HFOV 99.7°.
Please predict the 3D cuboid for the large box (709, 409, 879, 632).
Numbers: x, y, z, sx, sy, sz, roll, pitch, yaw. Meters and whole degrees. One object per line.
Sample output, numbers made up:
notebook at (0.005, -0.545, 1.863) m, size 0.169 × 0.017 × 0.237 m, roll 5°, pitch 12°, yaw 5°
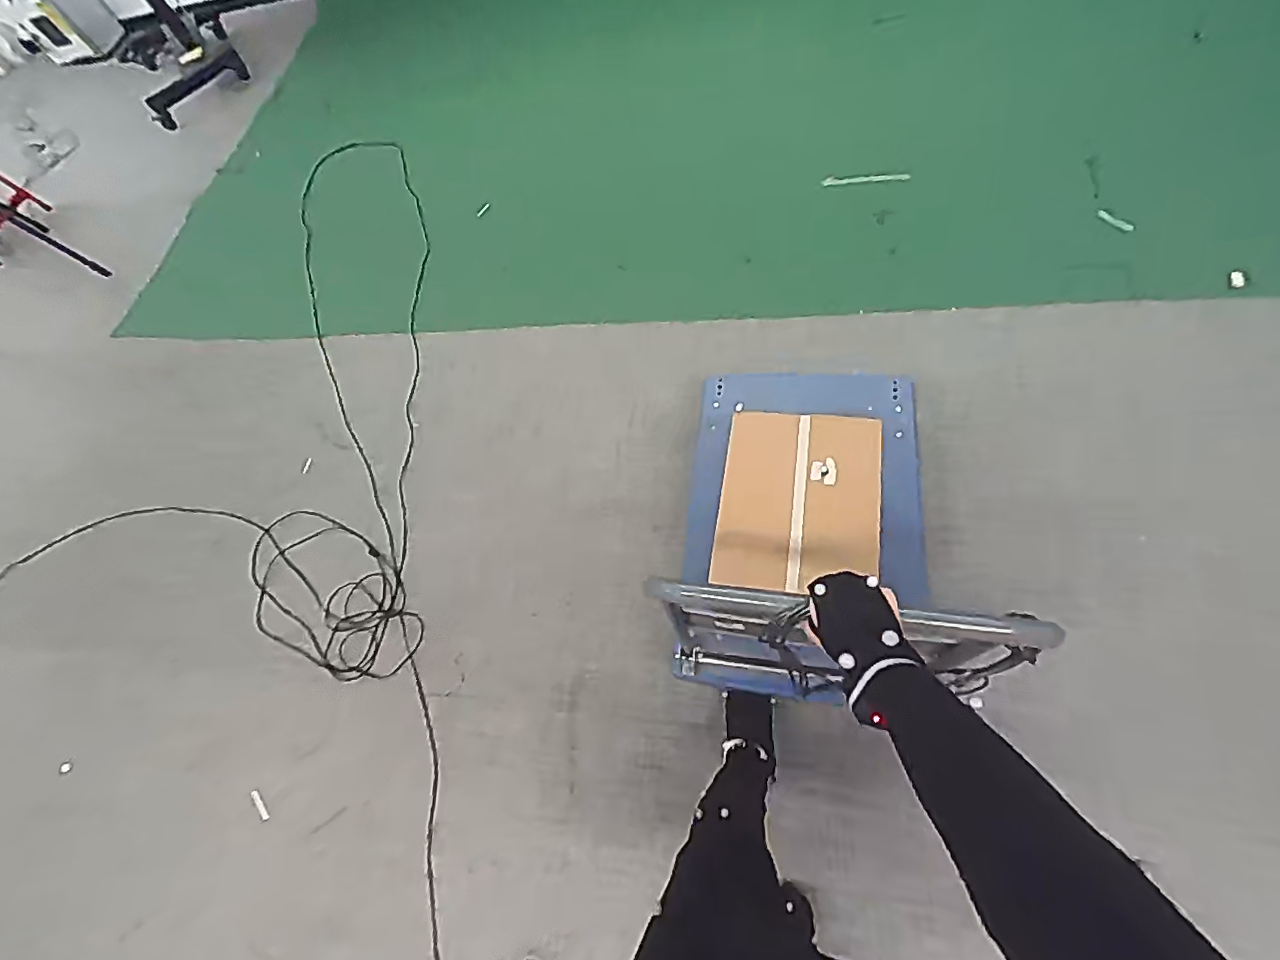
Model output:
large box at (0.344, 0.098, 1.220) m, size 0.320 × 0.320 × 0.408 m, roll 6°, pitch 66°, yaw 14°
